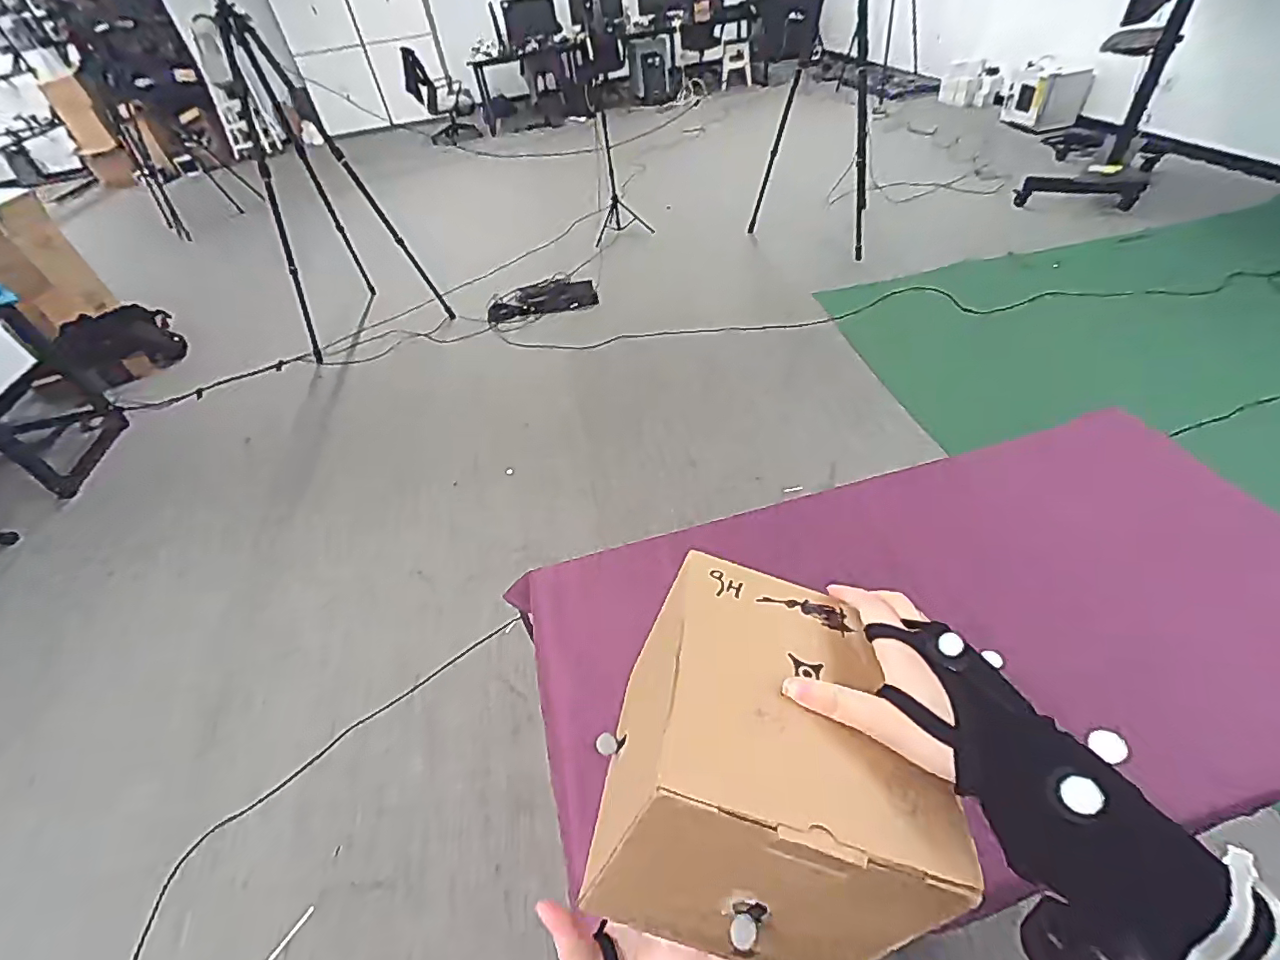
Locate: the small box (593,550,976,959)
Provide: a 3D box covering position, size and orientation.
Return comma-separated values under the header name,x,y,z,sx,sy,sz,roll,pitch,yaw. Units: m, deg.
name,x,y,z,sx,sy,sz,roll,pitch,yaw
small box,0.076,0.186,0.368,0.168,0.176,0.179,20,36,-2
